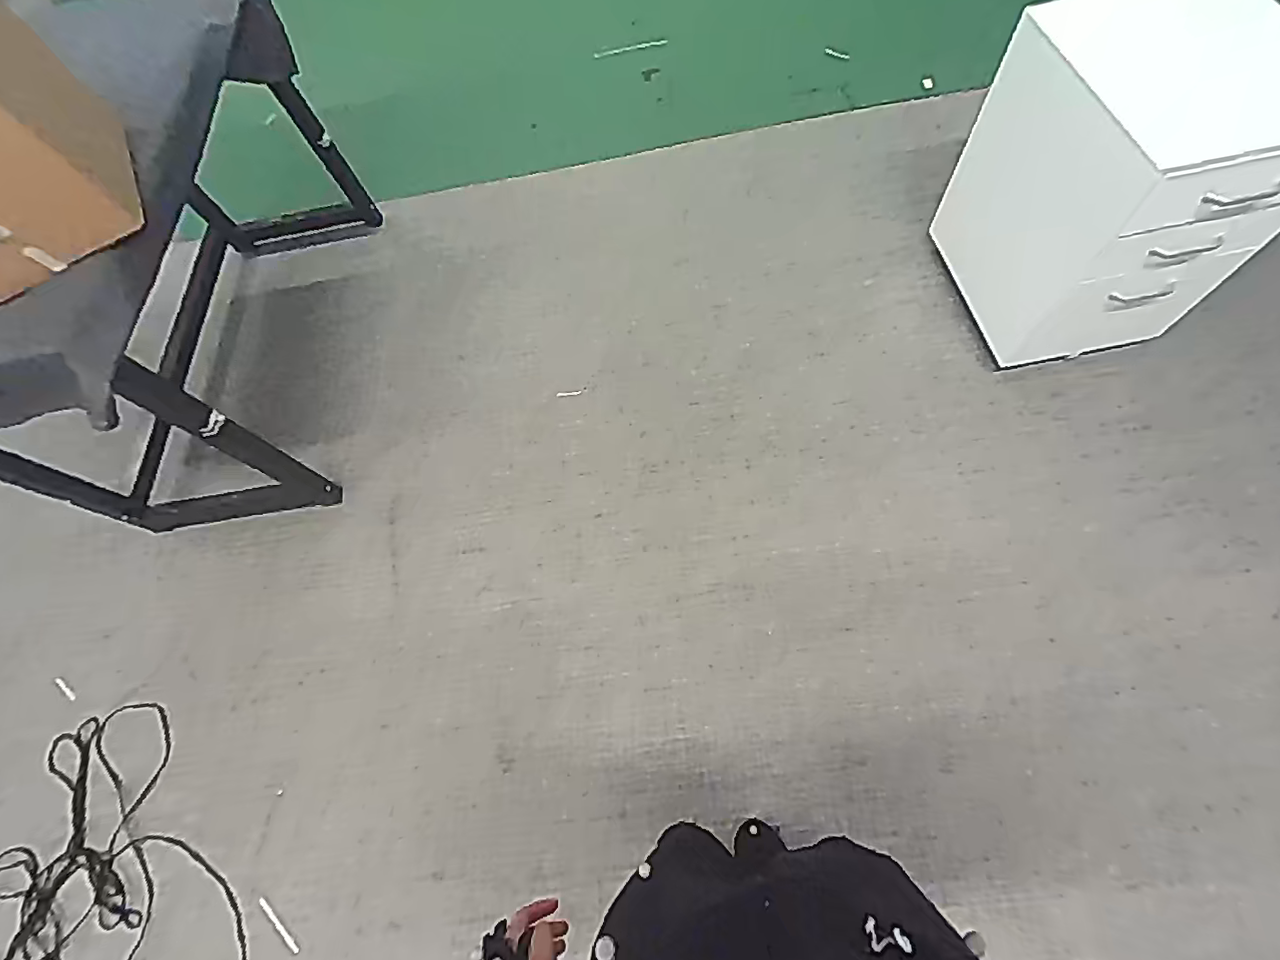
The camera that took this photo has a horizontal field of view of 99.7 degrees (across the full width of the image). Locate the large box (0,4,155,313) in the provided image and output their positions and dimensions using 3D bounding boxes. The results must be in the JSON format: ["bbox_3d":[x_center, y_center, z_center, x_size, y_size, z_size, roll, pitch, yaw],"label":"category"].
[{"bbox_3d":[-1.116,-0.566,0.906,0.320,0.320,0.408,-32,63,-7],"label":"large box"}]
